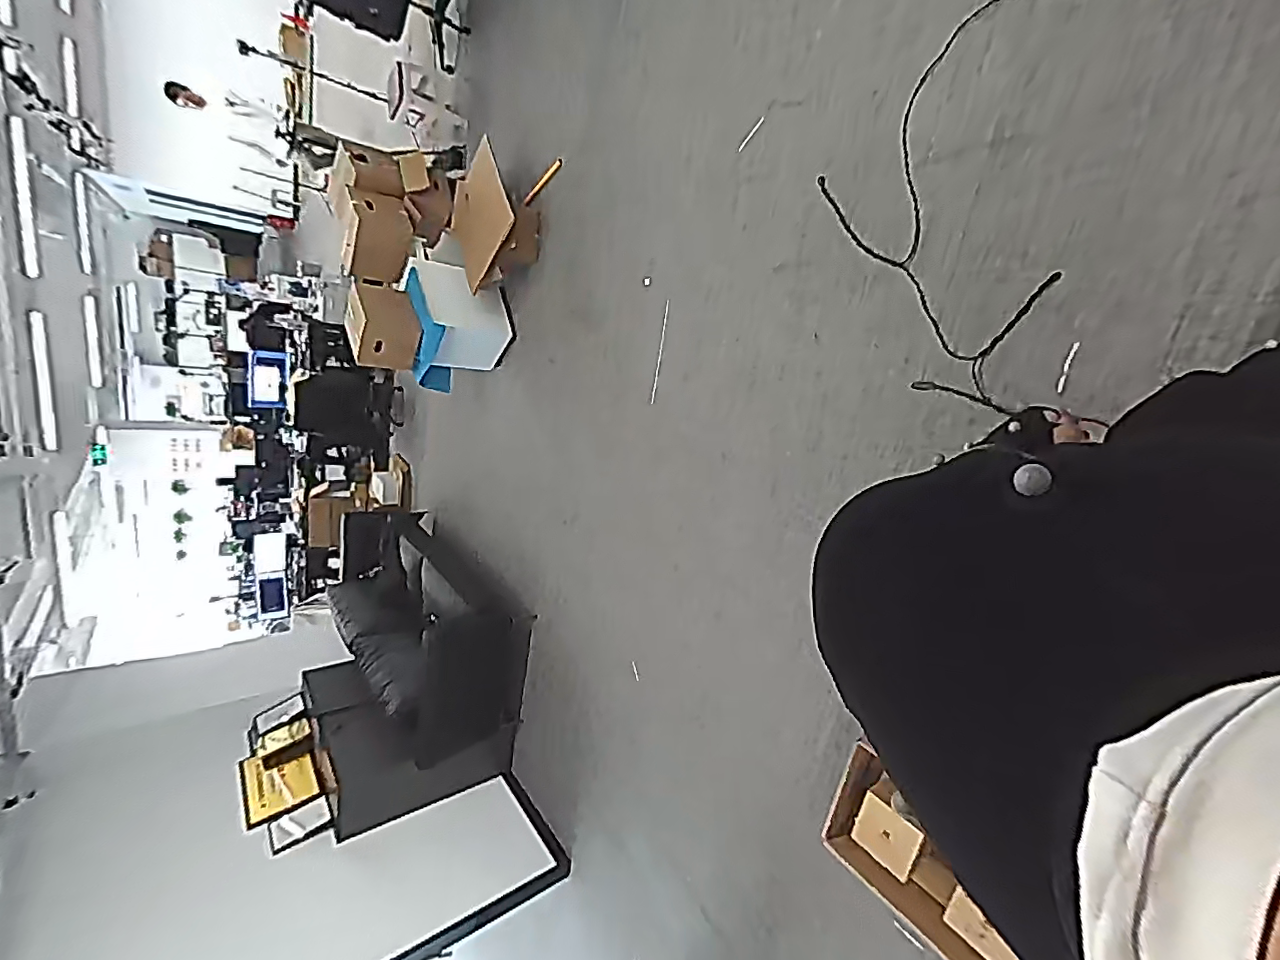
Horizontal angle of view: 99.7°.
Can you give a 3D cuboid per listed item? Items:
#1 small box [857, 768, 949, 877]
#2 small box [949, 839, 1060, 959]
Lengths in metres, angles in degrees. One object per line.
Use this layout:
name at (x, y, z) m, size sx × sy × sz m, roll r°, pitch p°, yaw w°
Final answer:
small box at (0.764, 0.980, 1.566) m, size 0.168 × 0.176 × 0.179 m, roll 26°, pitch 112°, yaw 46°
small box at (0.928, 1.064, 1.370) m, size 0.168 × 0.176 × 0.179 m, roll 28°, pitch 113°, yaw 47°
